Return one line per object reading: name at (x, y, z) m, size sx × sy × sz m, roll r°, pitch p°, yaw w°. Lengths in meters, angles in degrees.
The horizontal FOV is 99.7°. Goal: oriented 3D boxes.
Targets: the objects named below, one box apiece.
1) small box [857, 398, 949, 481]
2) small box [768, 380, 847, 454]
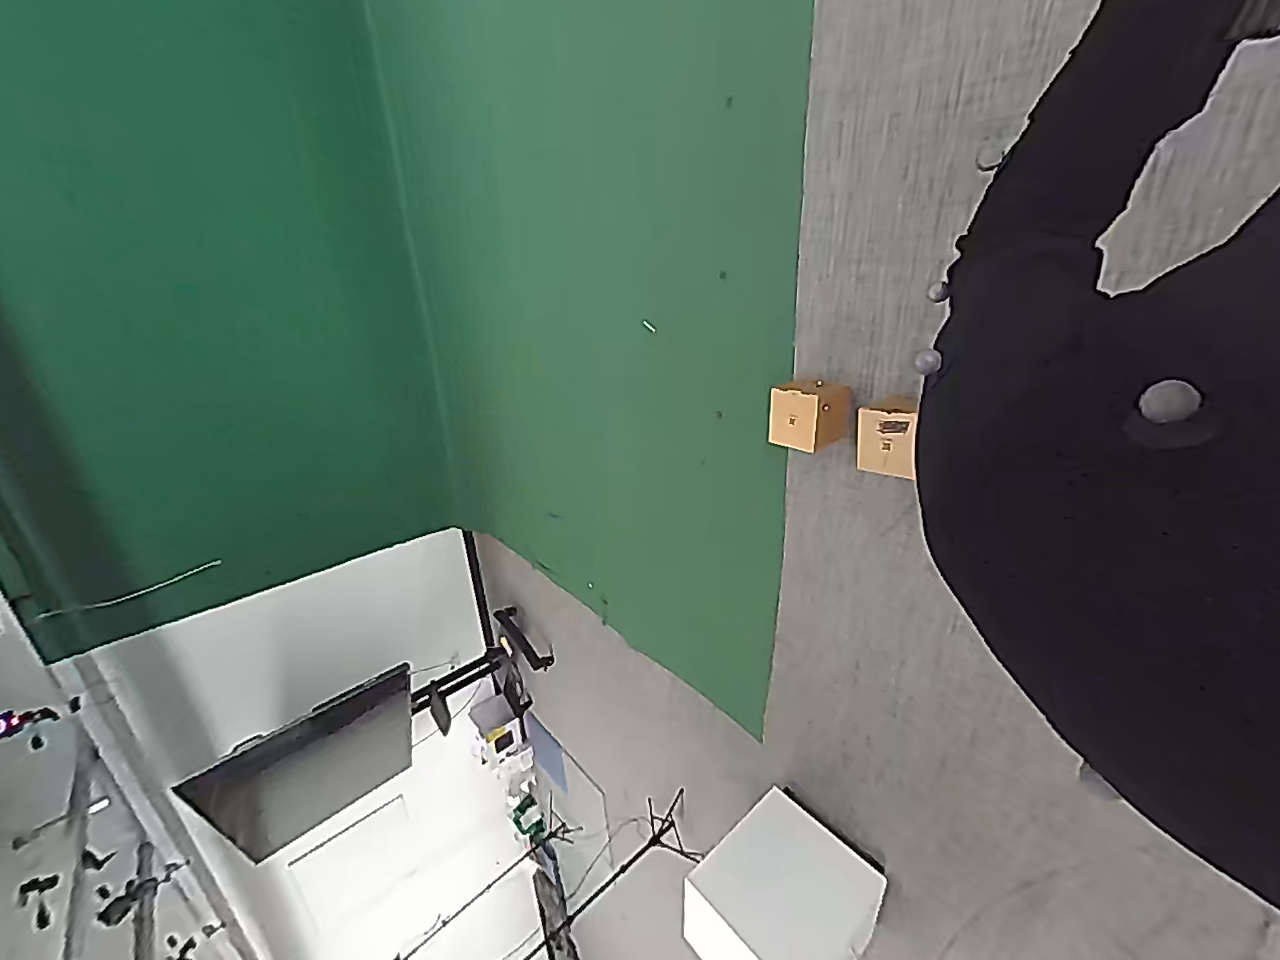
small box at (0.702, -0.116, 1.443) m, size 0.168 × 0.176 × 0.179 m, roll 17°, pitch 119°, yaw 48°
small box at (0.512, -0.198, 1.651) m, size 0.168 × 0.176 × 0.179 m, roll 21°, pitch 121°, yaw 45°
